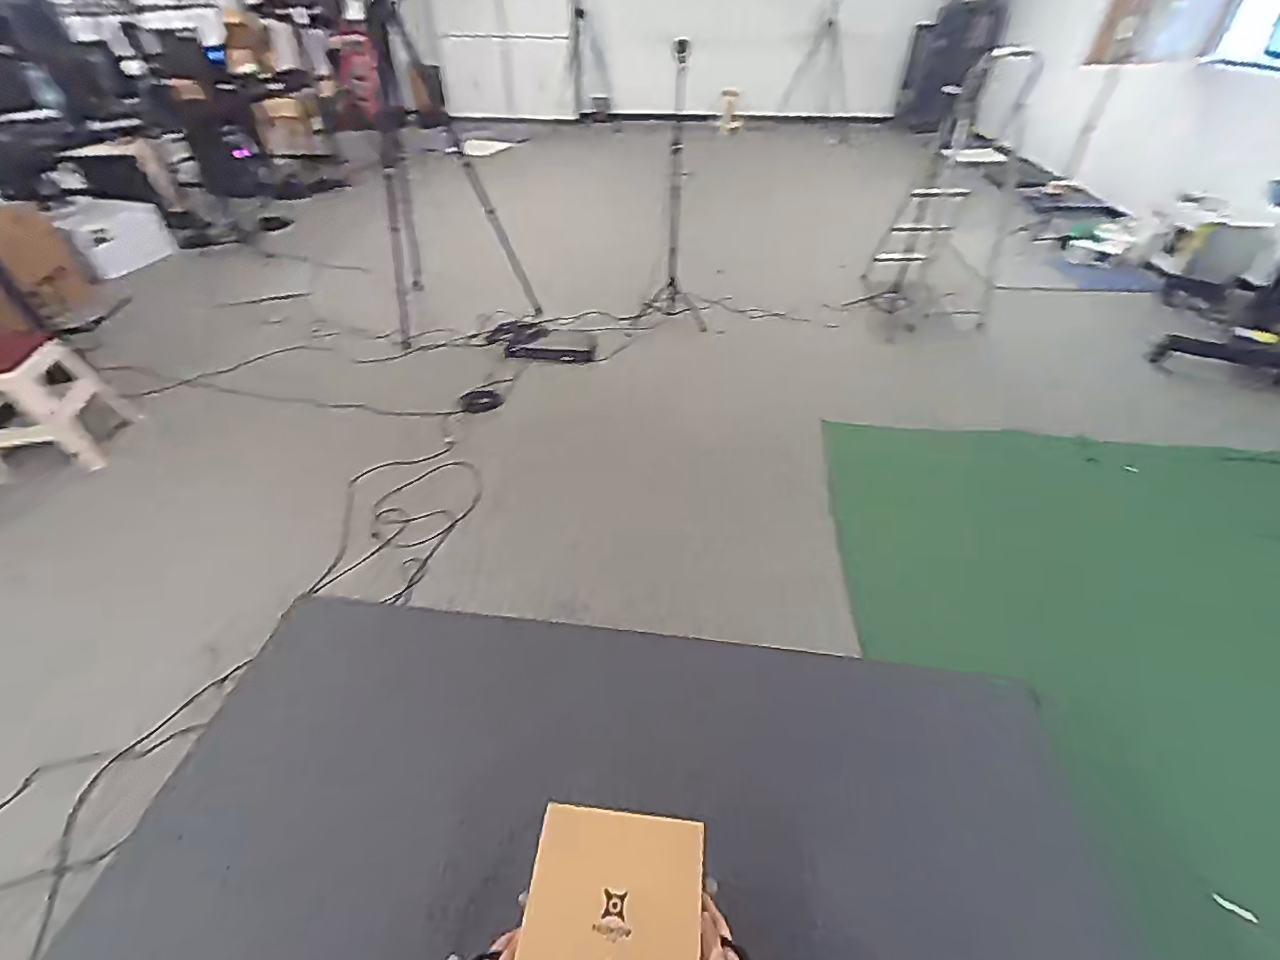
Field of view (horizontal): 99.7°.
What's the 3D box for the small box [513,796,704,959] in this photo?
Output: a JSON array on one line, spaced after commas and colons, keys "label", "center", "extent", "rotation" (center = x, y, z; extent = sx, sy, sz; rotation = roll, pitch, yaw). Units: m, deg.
[{"label": "small box", "center": [-0.026, 0.457, 0.554], "extent": [0.168, 0.176, 0.179], "rotation": [4, 42, 5]}]
